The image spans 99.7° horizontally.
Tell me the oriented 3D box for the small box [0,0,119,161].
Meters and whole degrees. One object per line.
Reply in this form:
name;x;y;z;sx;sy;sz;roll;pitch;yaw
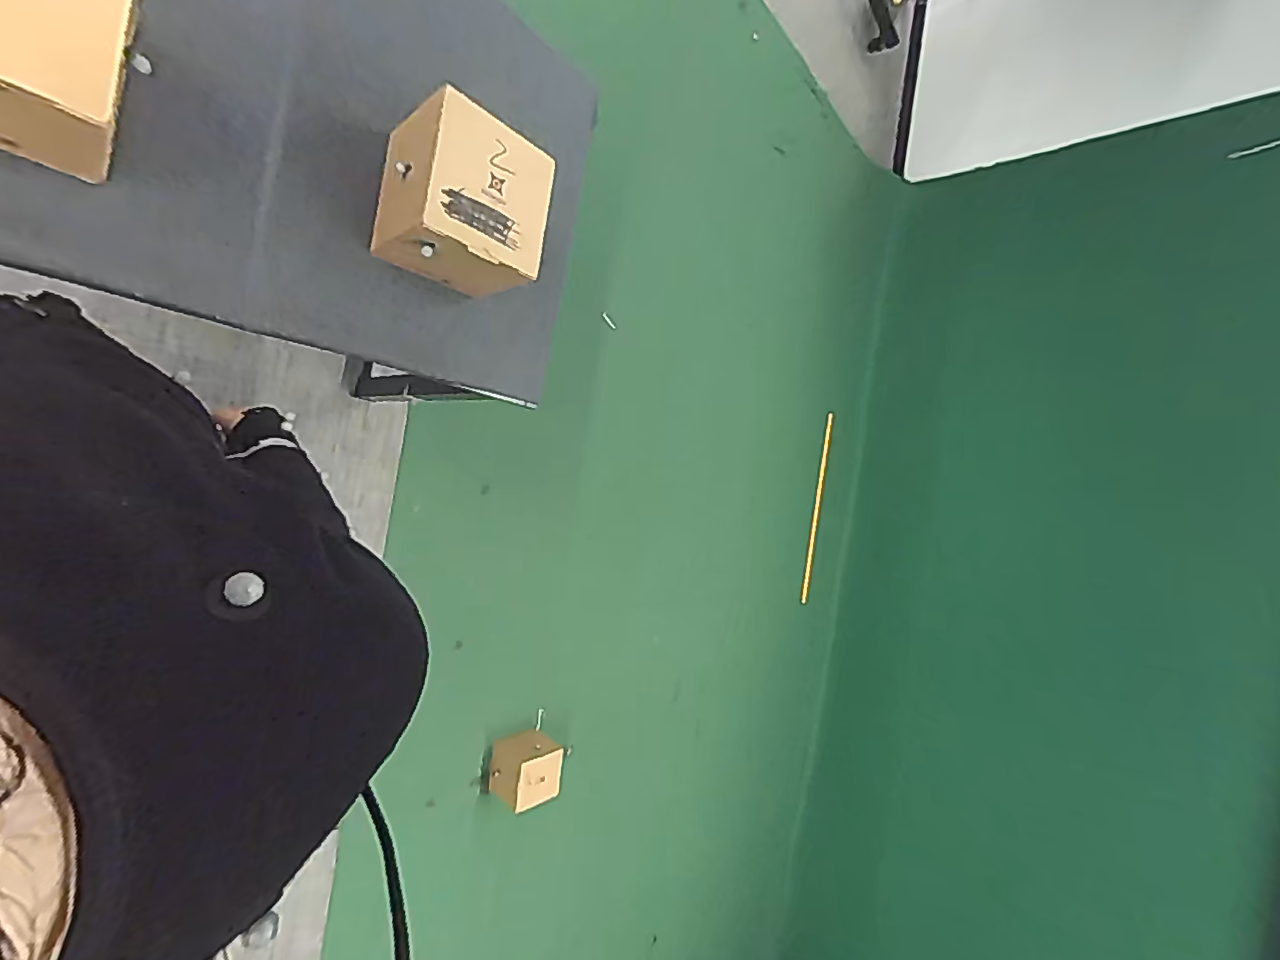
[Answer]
small box;-0.537;-0.398;0.428;0.168;0.176;0.179;11;89;-49

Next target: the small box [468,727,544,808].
small box;-0.457;0.969;1.845;0.179;0.176;0.168;7;91;-48
